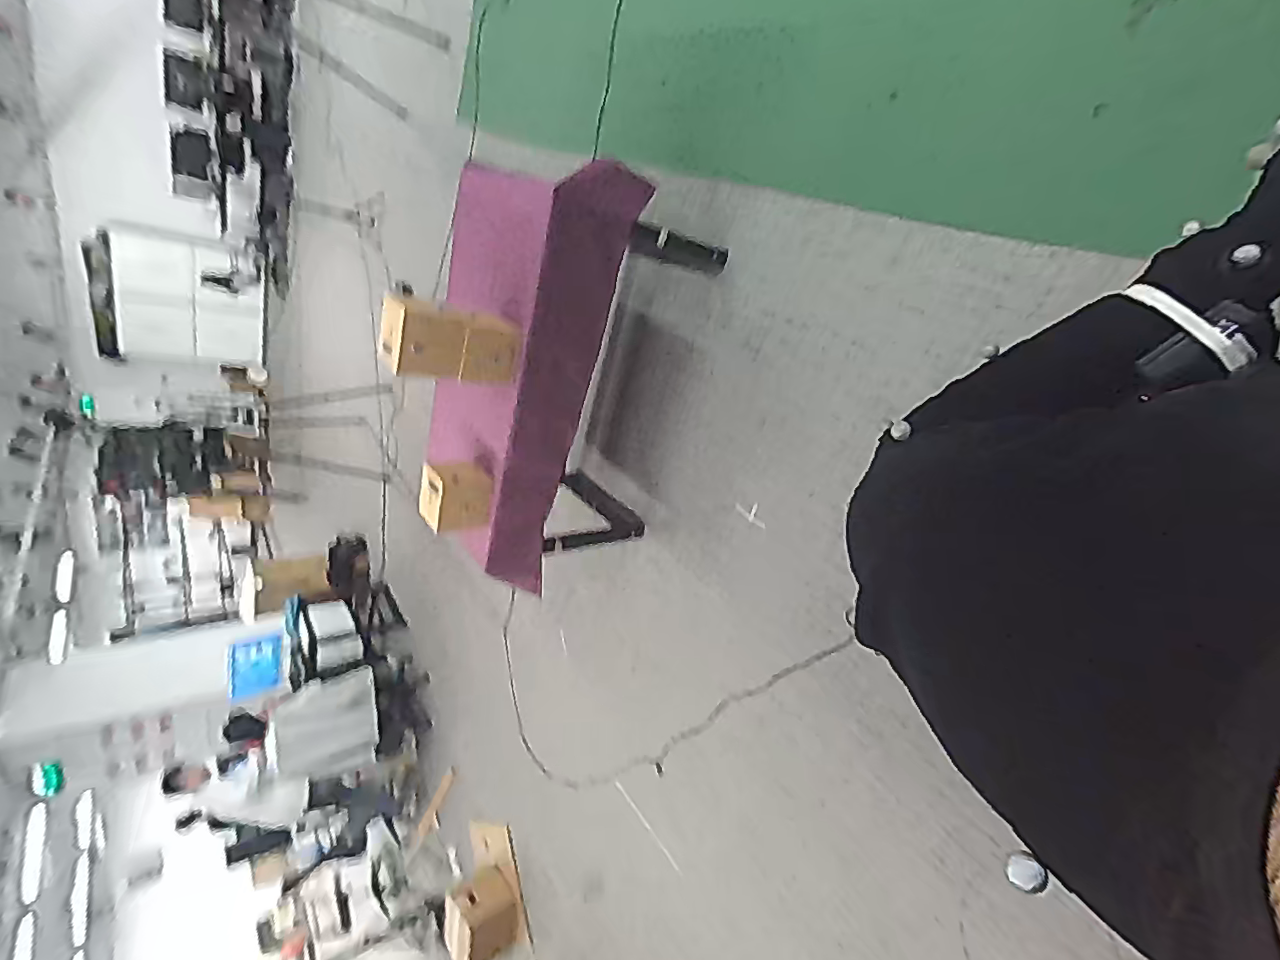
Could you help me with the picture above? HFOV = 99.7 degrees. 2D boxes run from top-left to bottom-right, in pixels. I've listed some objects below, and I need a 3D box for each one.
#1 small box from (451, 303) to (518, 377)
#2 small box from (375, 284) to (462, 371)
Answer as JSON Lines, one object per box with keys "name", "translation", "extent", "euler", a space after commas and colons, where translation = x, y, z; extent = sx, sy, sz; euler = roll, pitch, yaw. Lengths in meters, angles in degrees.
{"name": "small box", "translation": [-0.477, -0.406, 1.574], "extent": [0.179, 0.176, 0.168], "euler": [39, 120, 39]}
{"name": "small box", "translation": [-0.598, -0.406, 1.461], "extent": [0.168, 0.176, 0.179], "euler": [39, 120, 38]}
